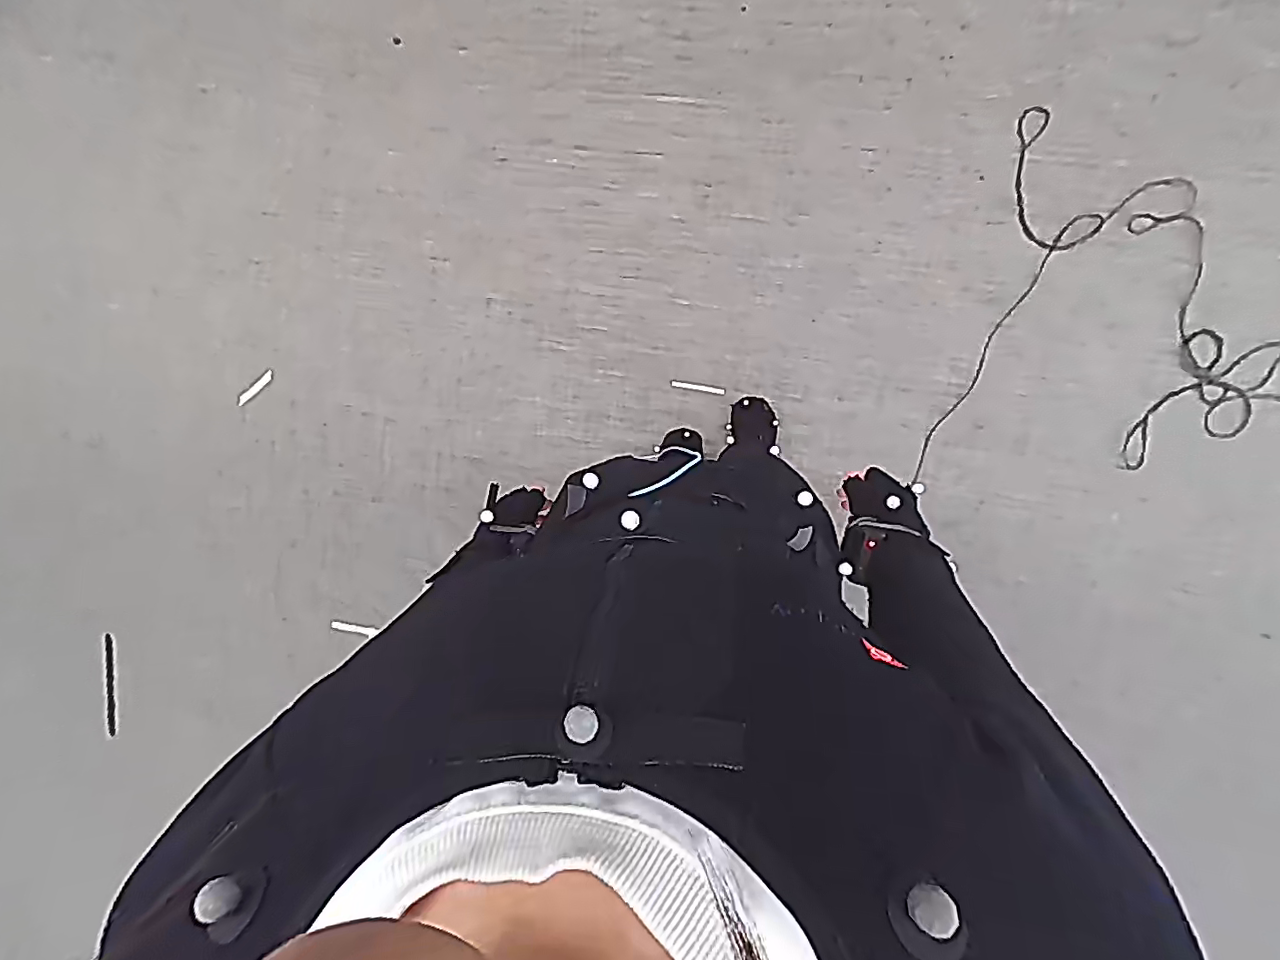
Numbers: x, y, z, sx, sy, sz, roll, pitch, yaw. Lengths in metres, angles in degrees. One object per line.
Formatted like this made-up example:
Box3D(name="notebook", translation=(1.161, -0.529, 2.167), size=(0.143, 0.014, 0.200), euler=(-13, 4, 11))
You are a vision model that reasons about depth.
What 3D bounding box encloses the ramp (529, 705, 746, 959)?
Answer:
Box3D(name="ramp", translation=(-0.037, 1.184, 1.530), size=(0.509, 0.206, 0.991), euler=(10, 98, 10))
